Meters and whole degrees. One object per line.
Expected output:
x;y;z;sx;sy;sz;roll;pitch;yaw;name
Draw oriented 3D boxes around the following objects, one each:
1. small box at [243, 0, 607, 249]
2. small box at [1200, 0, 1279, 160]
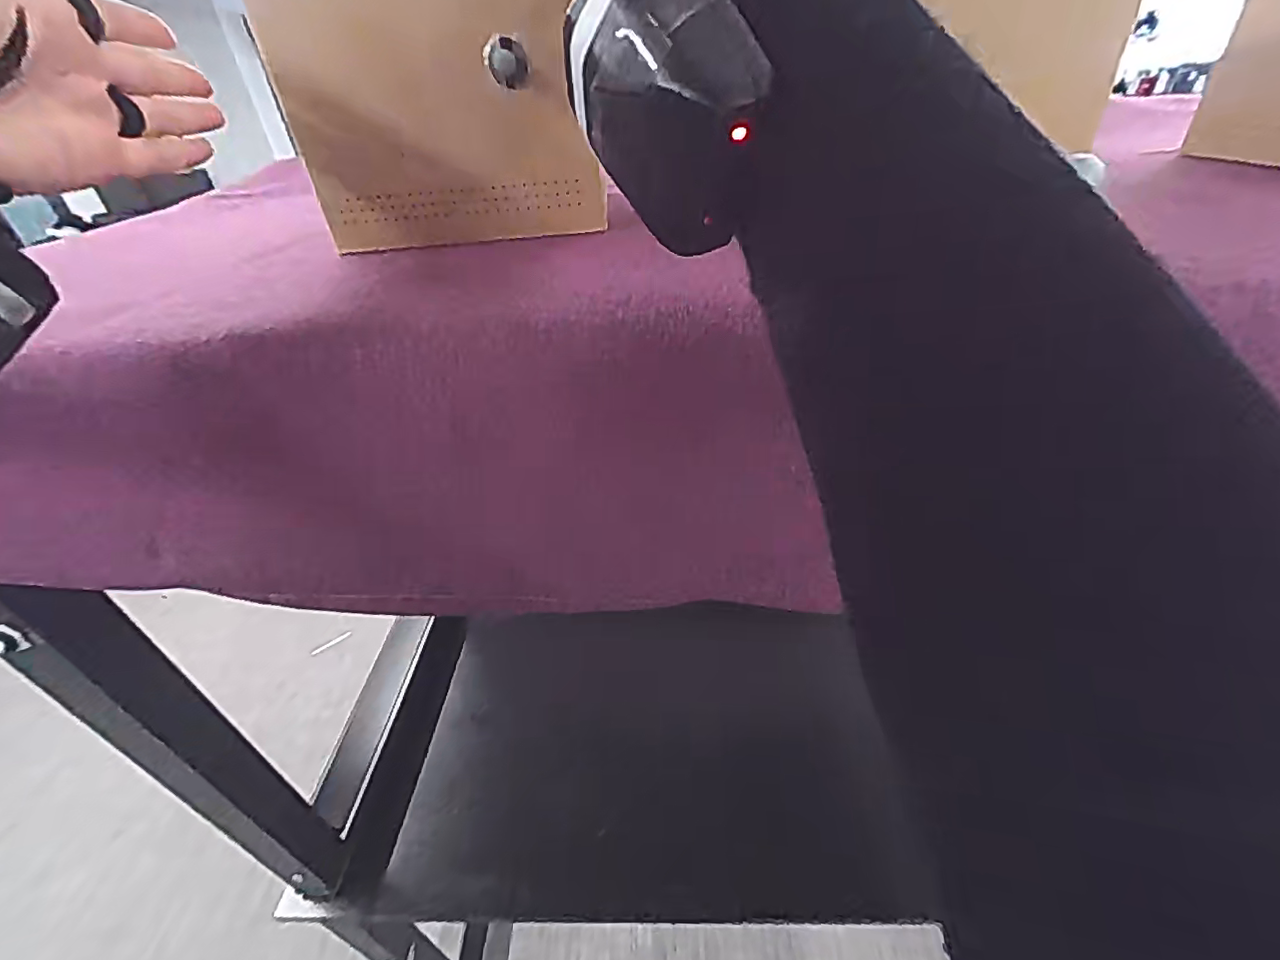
-0.115;-0.264;0.360;0.179;0.176;0.168;-5;35;1;small box
0.486;-0.271;0.293;0.168;0.176;0.179;-1;35;7;small box
